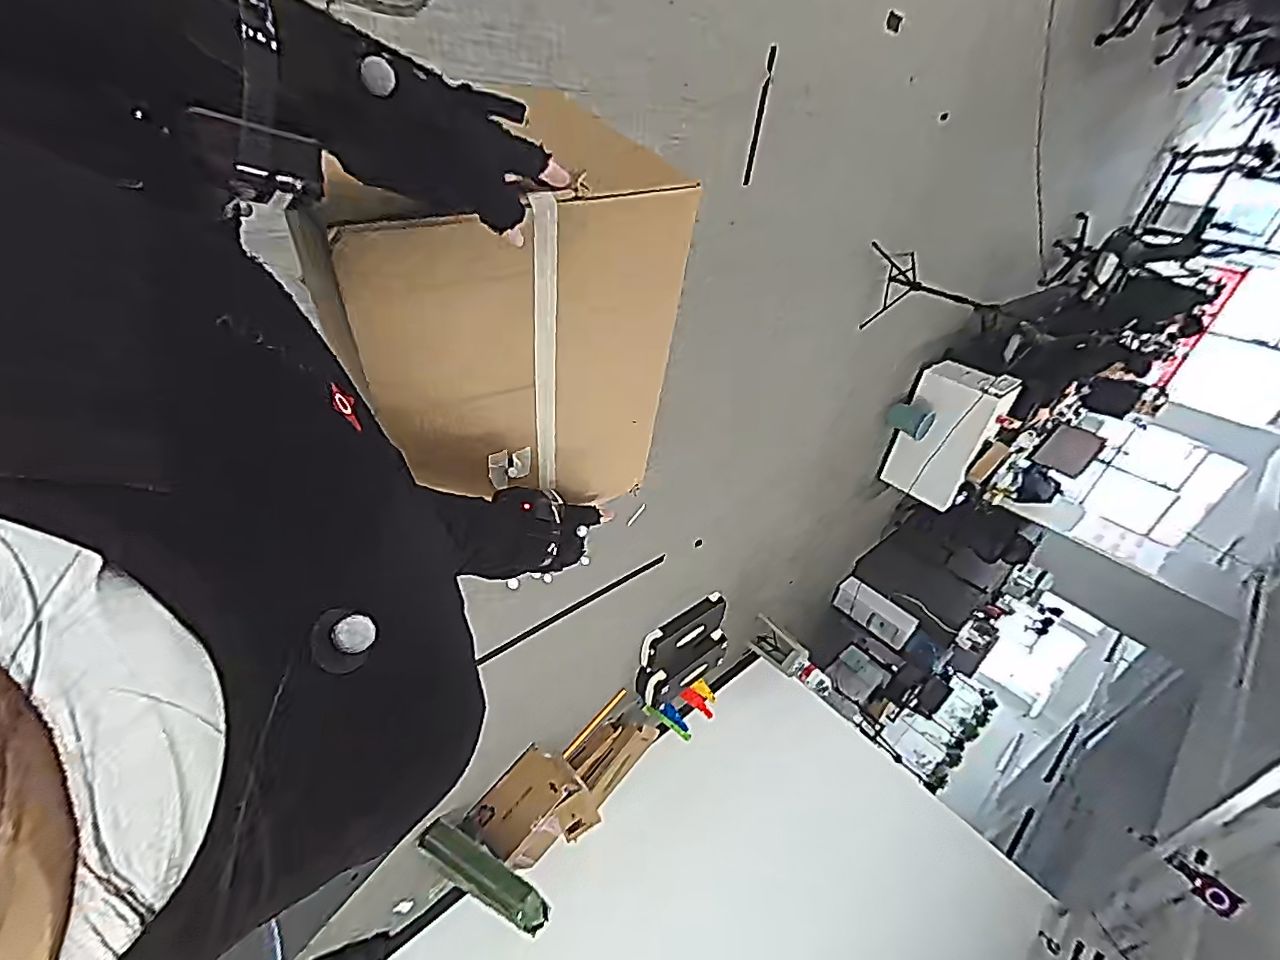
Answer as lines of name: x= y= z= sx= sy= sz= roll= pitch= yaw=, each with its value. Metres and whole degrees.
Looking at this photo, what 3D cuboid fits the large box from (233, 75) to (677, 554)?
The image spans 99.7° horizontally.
large box: x=-0.197 y=-0.193 z=0.637 sx=0.320 sy=0.320 sz=0.408 roll=-22 pitch=146 yaw=-27
